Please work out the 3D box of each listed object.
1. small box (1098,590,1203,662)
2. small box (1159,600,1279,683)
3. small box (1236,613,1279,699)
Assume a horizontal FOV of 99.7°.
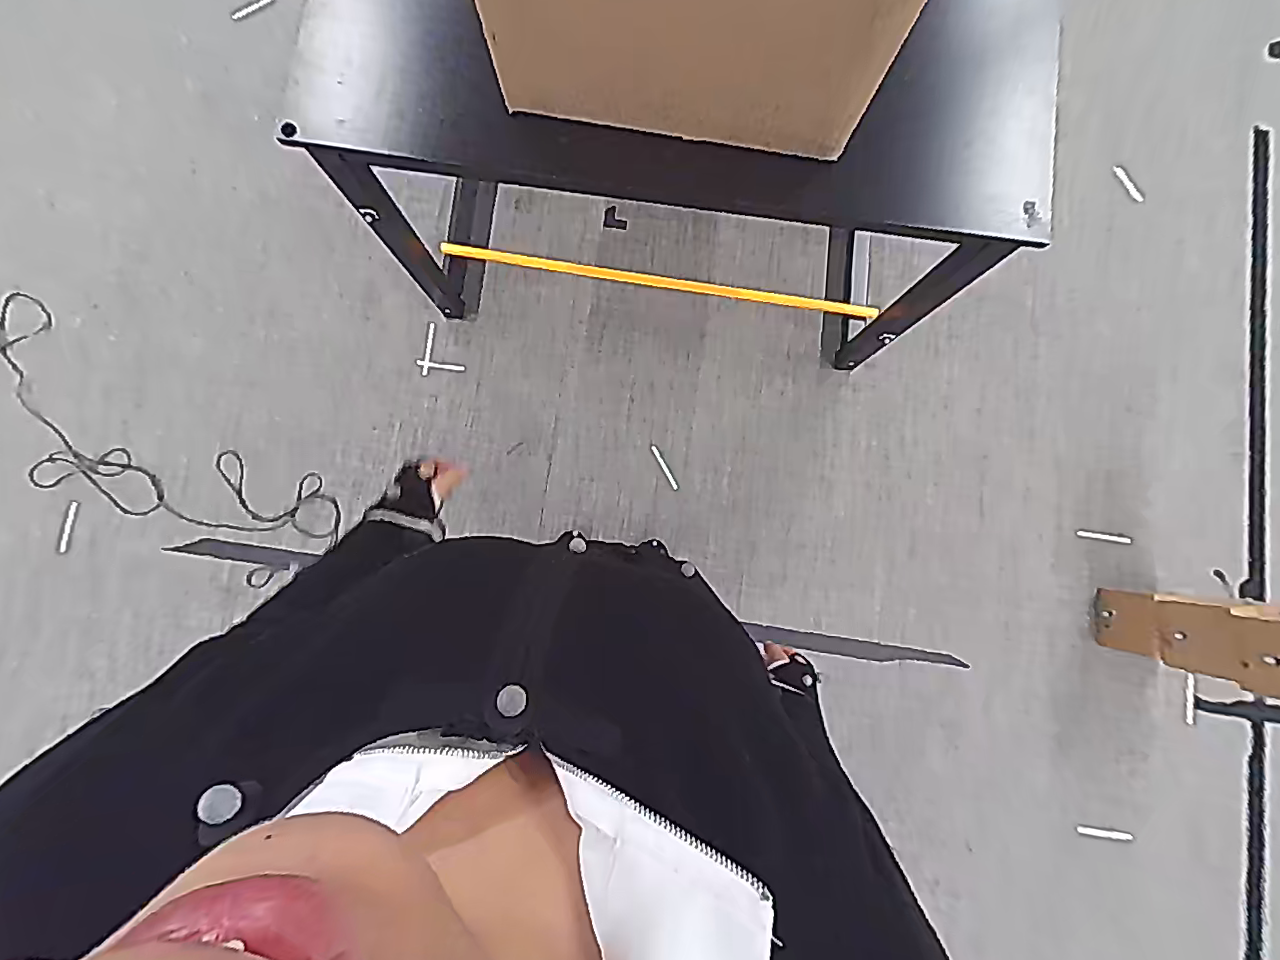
[{"bbox_3d":[1.373,0.386,1.435,0.179,0.176,0.168,4,83,0],"label":"small box"},{"bbox_3d":[1.390,0.374,1.271,0.179,0.176,0.168,0,83,-2],"label":"small box"},{"bbox_3d":[1.389,0.368,1.107,0.179,0.176,0.168,-2,83,-2],"label":"small box"}]
